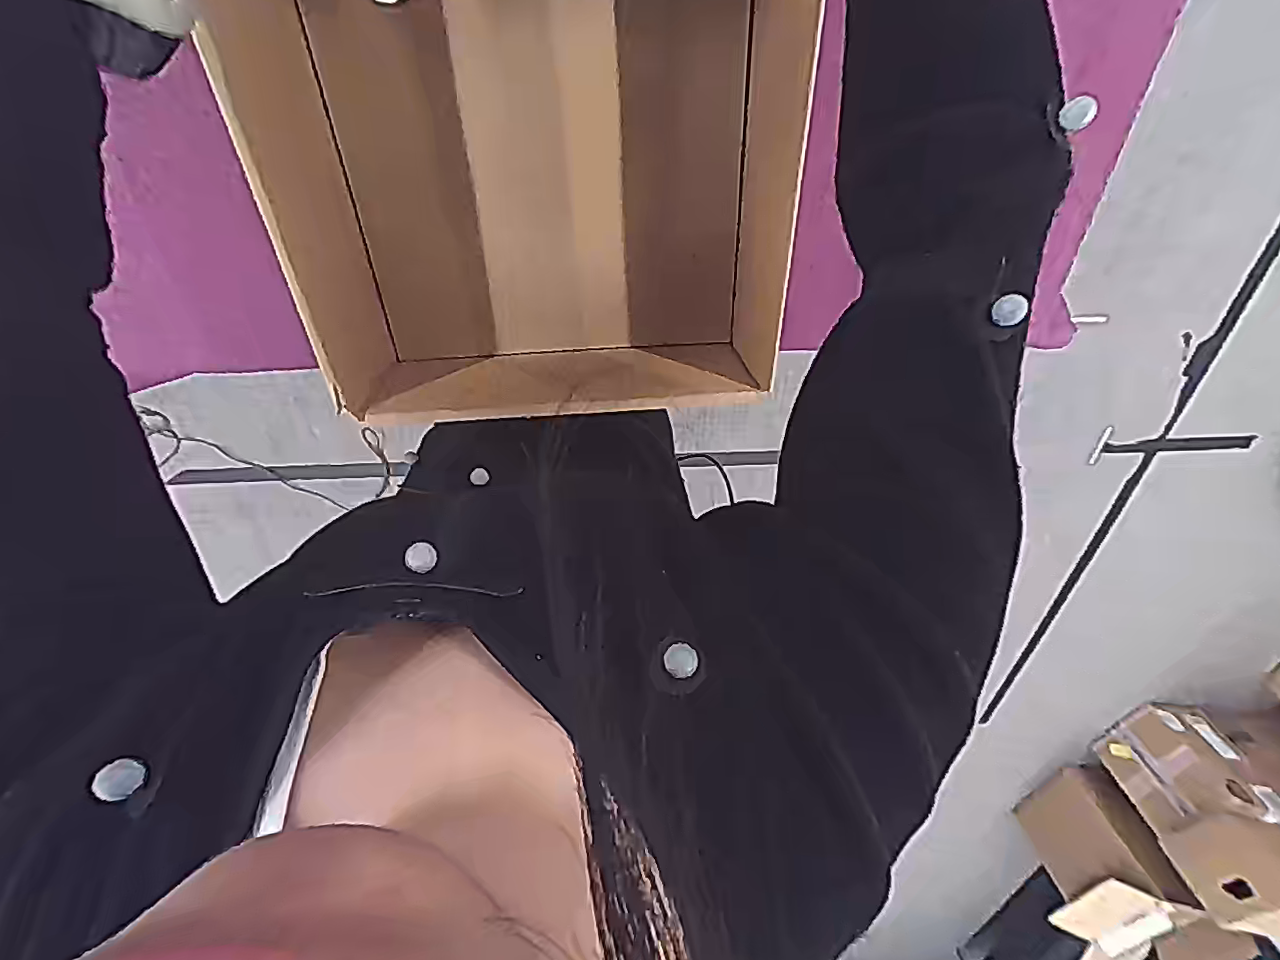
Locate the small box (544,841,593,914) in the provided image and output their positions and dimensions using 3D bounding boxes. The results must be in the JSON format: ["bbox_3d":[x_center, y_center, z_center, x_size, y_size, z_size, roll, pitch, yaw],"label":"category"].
[{"bbox_3d":[-0.255,1.423,1.944,0.168,0.176,0.179,0,123,-4],"label":"small box"}]

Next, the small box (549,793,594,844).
[{"bbox_3d":[-0.266,1.323,2.074,0.168,0.176,0.179,2,124,-6],"label":"small box"}]
